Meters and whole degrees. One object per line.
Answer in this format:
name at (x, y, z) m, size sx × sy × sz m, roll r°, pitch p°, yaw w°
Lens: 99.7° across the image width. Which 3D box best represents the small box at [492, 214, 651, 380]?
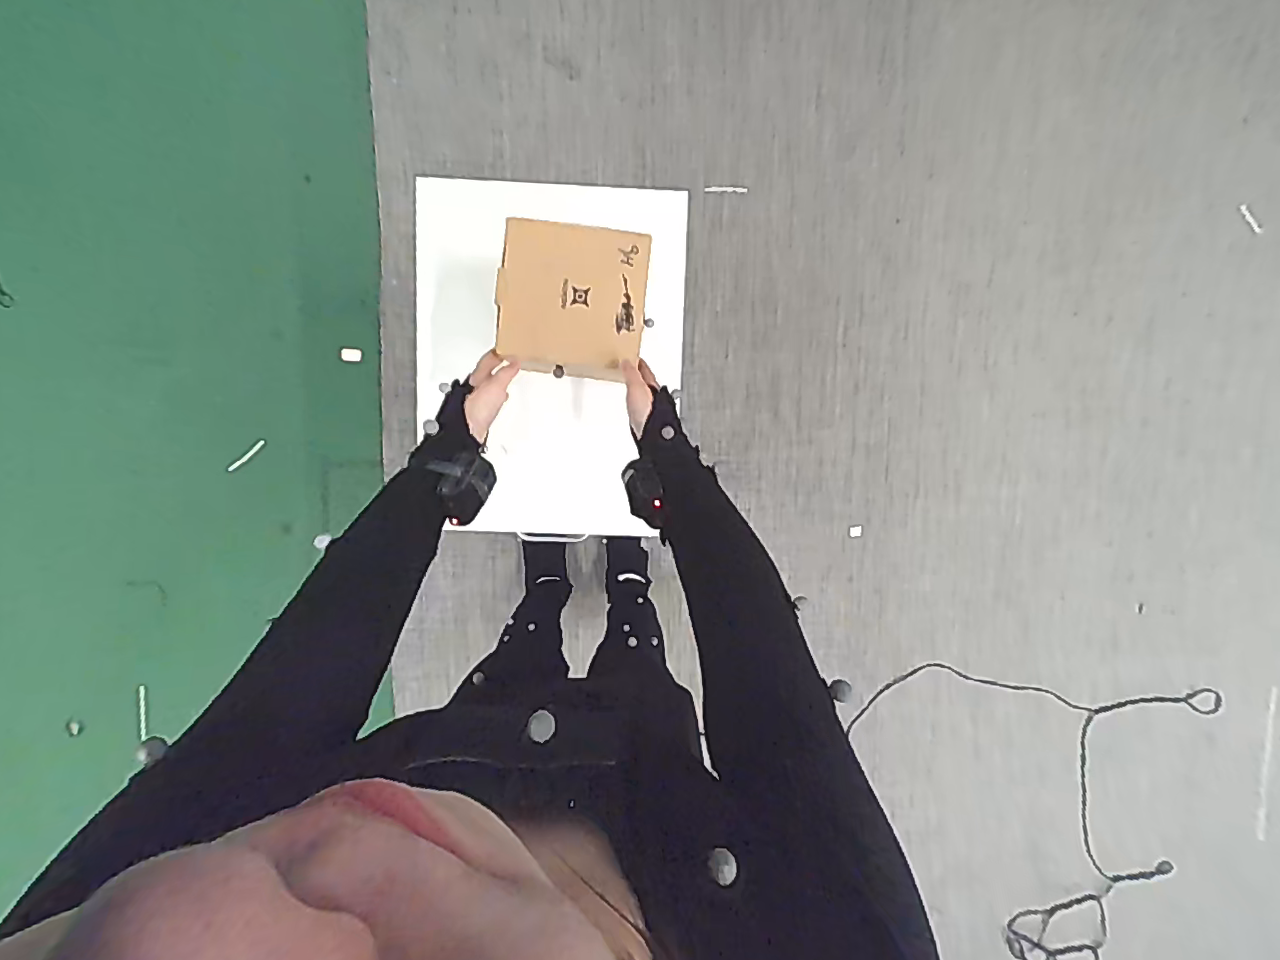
small box at (-0.085, -0.230, 0.725) m, size 0.179 × 0.176 × 0.168 m, roll 6°, pitch 95°, yaw -3°
